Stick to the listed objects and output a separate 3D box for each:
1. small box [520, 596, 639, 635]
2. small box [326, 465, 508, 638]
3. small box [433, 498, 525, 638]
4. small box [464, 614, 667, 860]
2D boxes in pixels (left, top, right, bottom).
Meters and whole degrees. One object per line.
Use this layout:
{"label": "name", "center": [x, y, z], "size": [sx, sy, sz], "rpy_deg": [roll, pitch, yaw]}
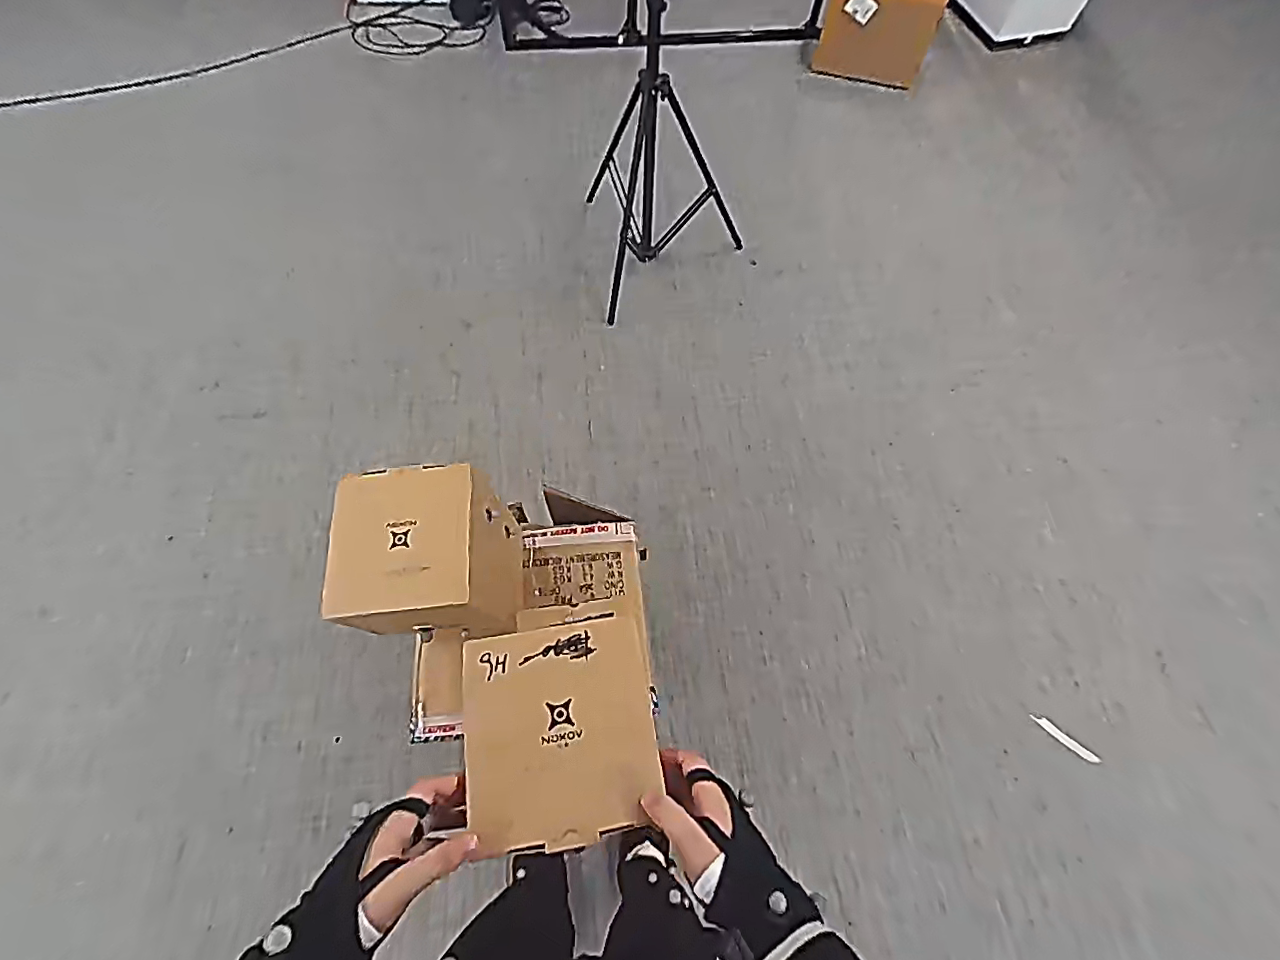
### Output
{"label": "small box", "center": [-0.081, 0.284, 0.804], "size": [0.168, 0.176, 0.179], "rpy_deg": [-7, 68, -4]}
{"label": "small box", "center": [-0.274, 0.099, 0.705], "size": [0.168, 0.176, 0.179], "rpy_deg": [-7, 68, -2]}
{"label": "small box", "center": [-0.282, 0.145, 0.862], "size": [0.168, 0.176, 0.179], "rpy_deg": [-6, 67, -2]}
{"label": "small box", "center": [-0.073, 0.252, 0.548], "size": [0.168, 0.176, 0.179], "rpy_deg": [-8, 63, -8]}
